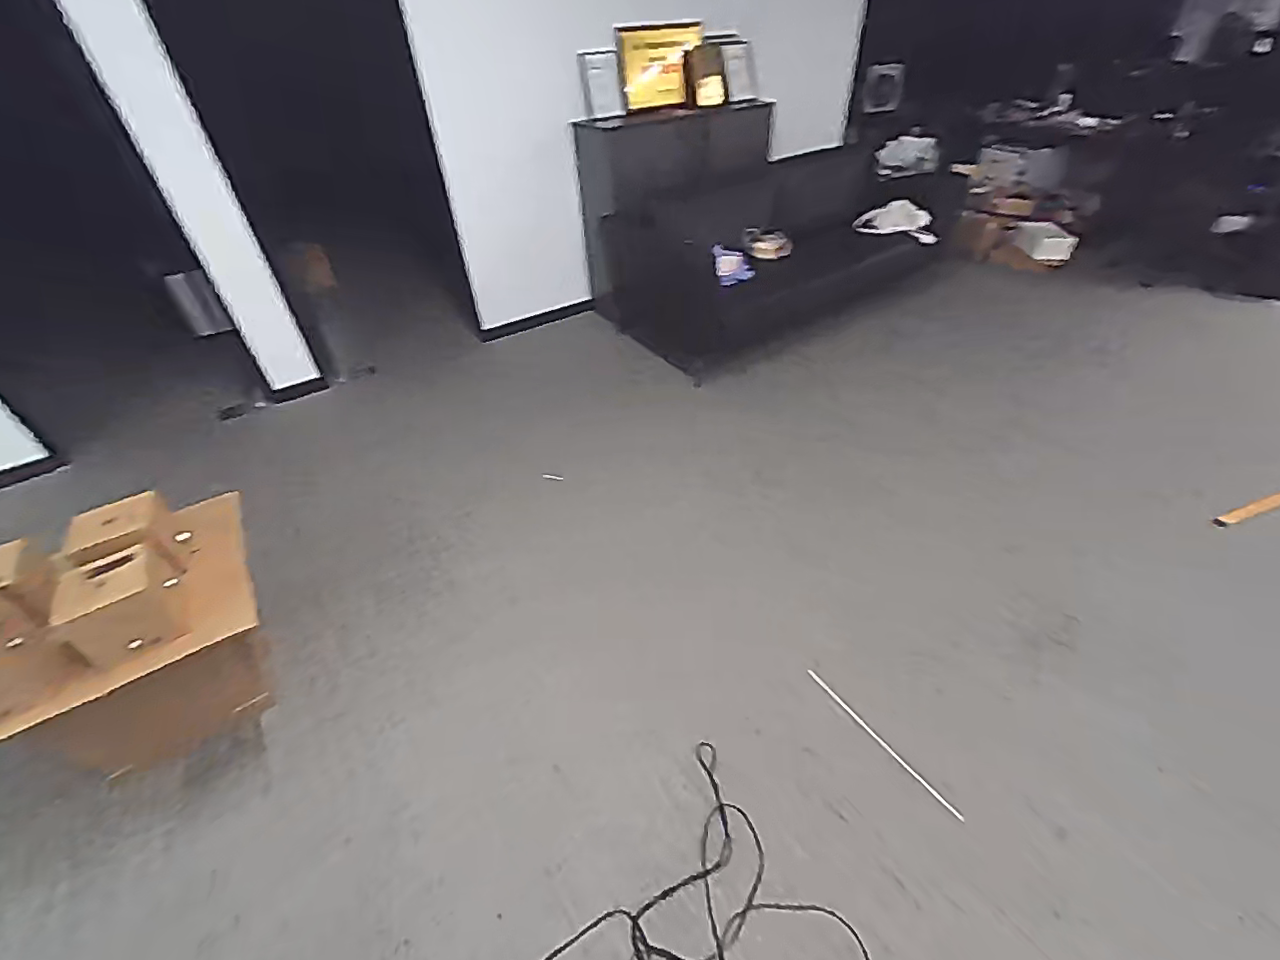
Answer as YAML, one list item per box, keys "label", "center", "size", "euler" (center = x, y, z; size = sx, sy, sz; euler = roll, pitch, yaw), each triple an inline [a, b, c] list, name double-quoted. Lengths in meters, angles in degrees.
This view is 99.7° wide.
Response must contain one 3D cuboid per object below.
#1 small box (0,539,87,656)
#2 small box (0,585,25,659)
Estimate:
- label: "small box"
  center: [-1.477, 0.279, 1.284]
  size: [0.168, 0.176, 0.179]
  euler: [-28, 44, -23]
- label: "small box"
  center: [-1.353, 0.280, 1.022]
  size: [0.179, 0.176, 0.168]
  euler: [-23, 45, -22]
